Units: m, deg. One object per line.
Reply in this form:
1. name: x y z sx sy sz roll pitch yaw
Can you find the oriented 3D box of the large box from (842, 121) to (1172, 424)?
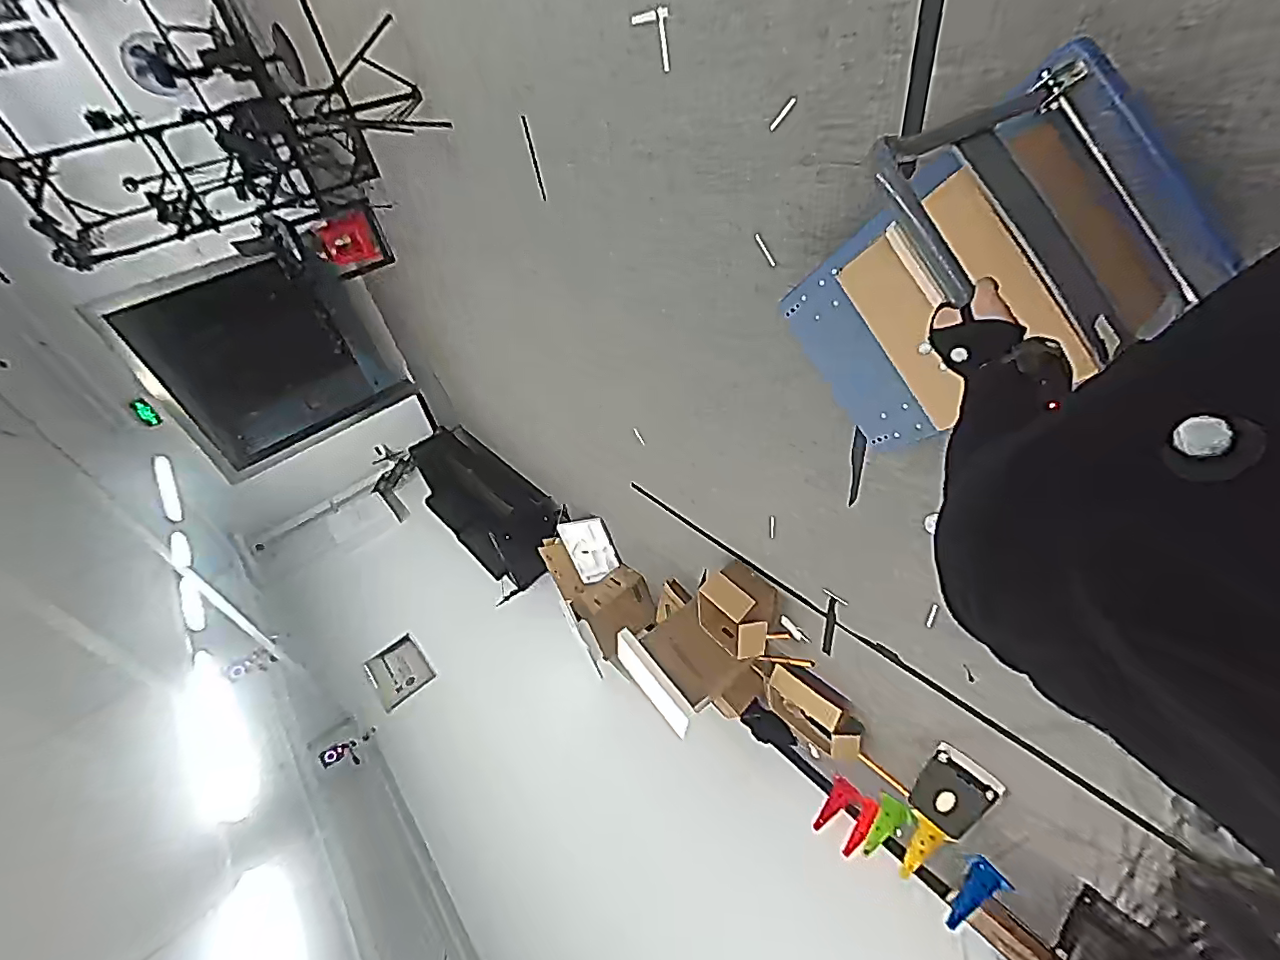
1. large box: 0.698 -0.387 1.057 0.408 0.320 0.320 57 155 0
